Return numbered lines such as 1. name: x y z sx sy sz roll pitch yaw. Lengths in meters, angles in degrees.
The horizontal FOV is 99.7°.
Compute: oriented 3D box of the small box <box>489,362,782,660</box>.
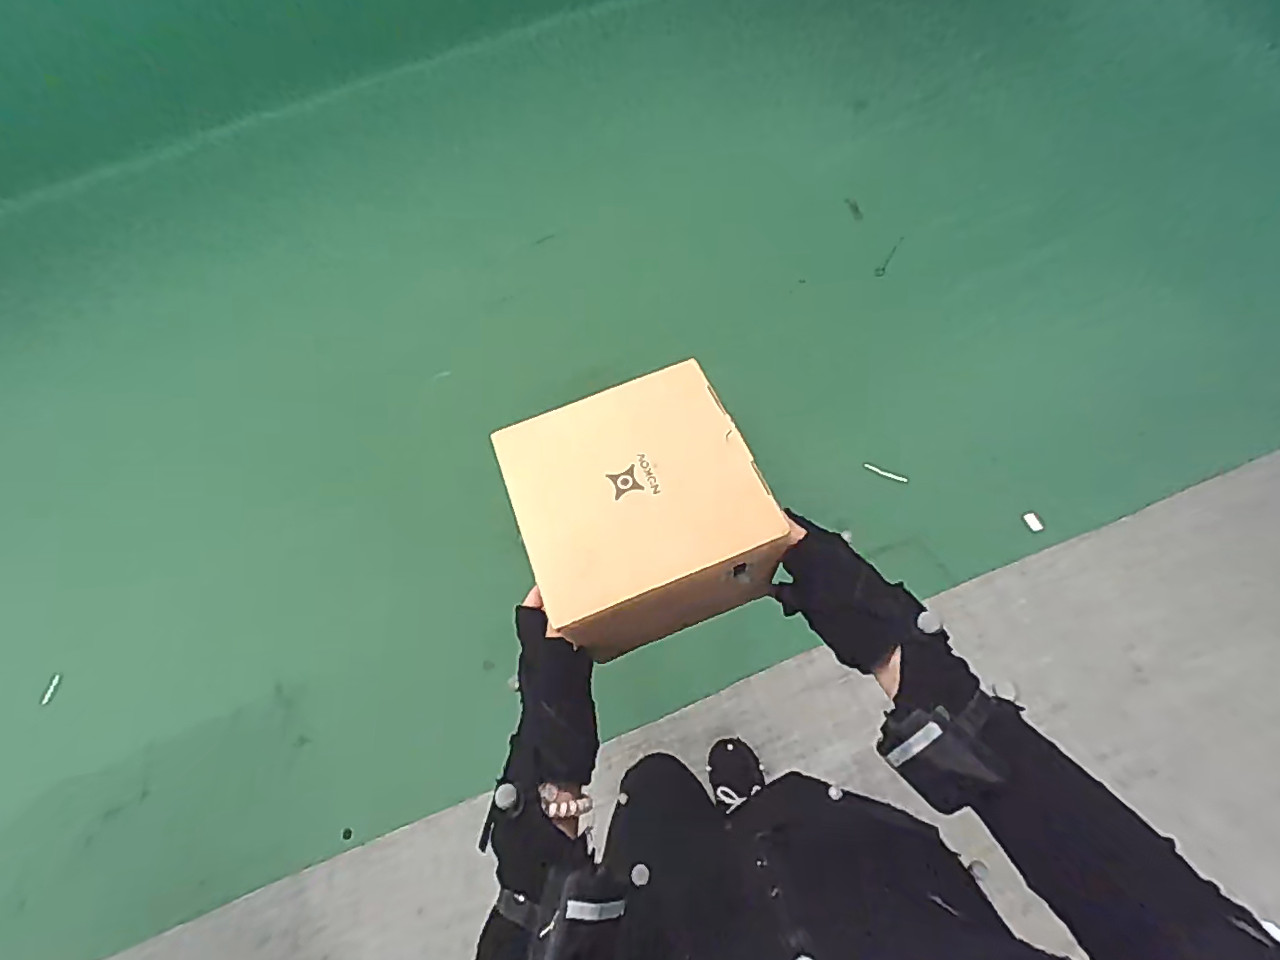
1. small box: -0.002 0.037 0.462 0.179 0.176 0.168 -22 63 -5
